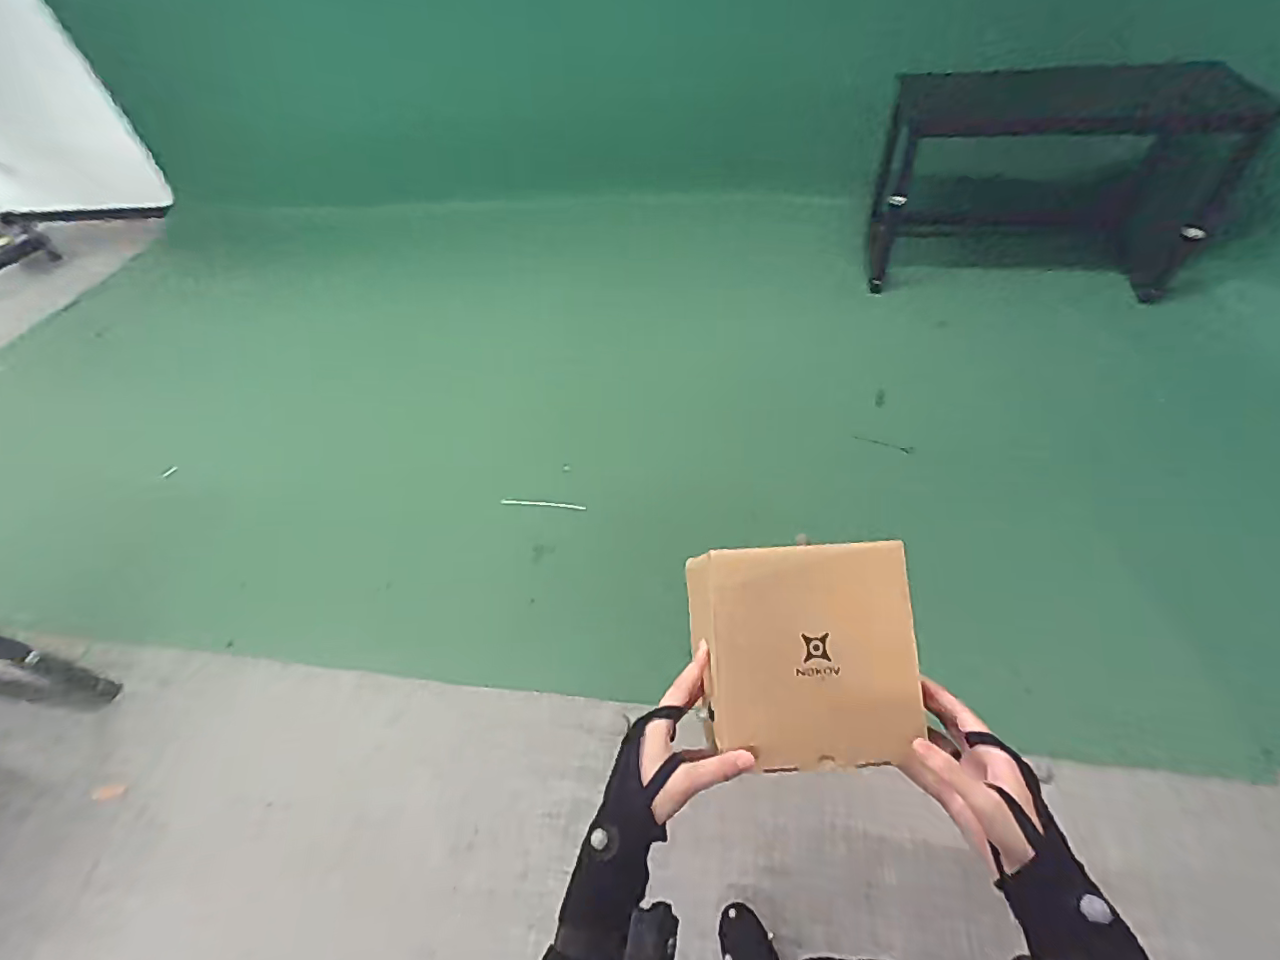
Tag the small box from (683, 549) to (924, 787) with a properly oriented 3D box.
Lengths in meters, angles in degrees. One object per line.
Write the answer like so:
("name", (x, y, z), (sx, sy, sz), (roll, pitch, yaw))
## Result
("small box", (0.134, 0.161, 0.512), (0.168, 0.176, 0.179), (-3, 81, -1))
